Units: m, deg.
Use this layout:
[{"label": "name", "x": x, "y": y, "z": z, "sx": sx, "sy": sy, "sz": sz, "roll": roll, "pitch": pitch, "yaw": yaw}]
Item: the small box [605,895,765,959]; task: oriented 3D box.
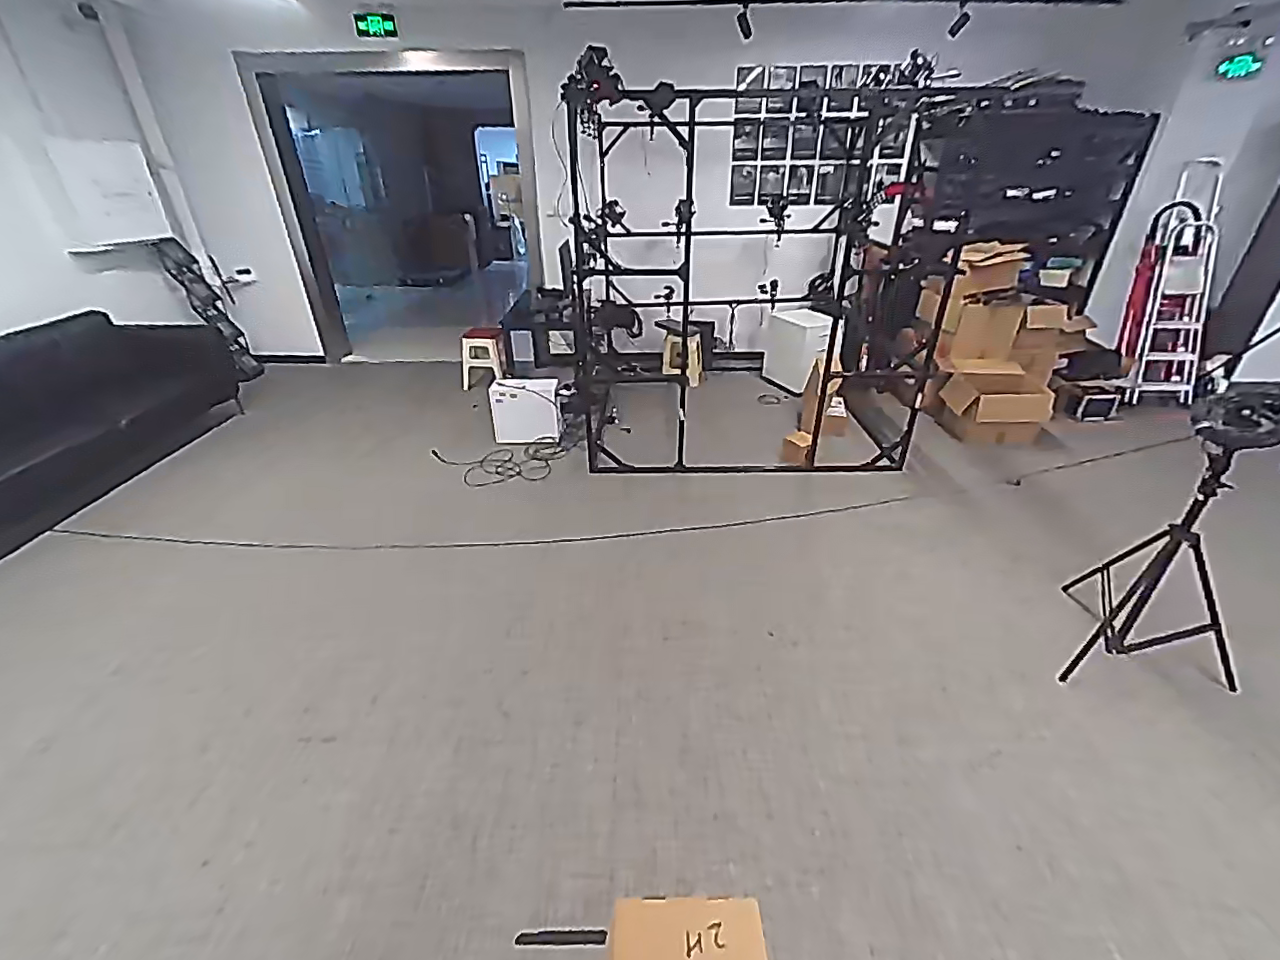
[{"label": "small box", "x": 0.046, "y": 0.586, "z": 0.585, "sx": 0.168, "sy": 0.176, "sz": 0.179, "roll": 4, "pitch": 32, "yaw": -5}]
